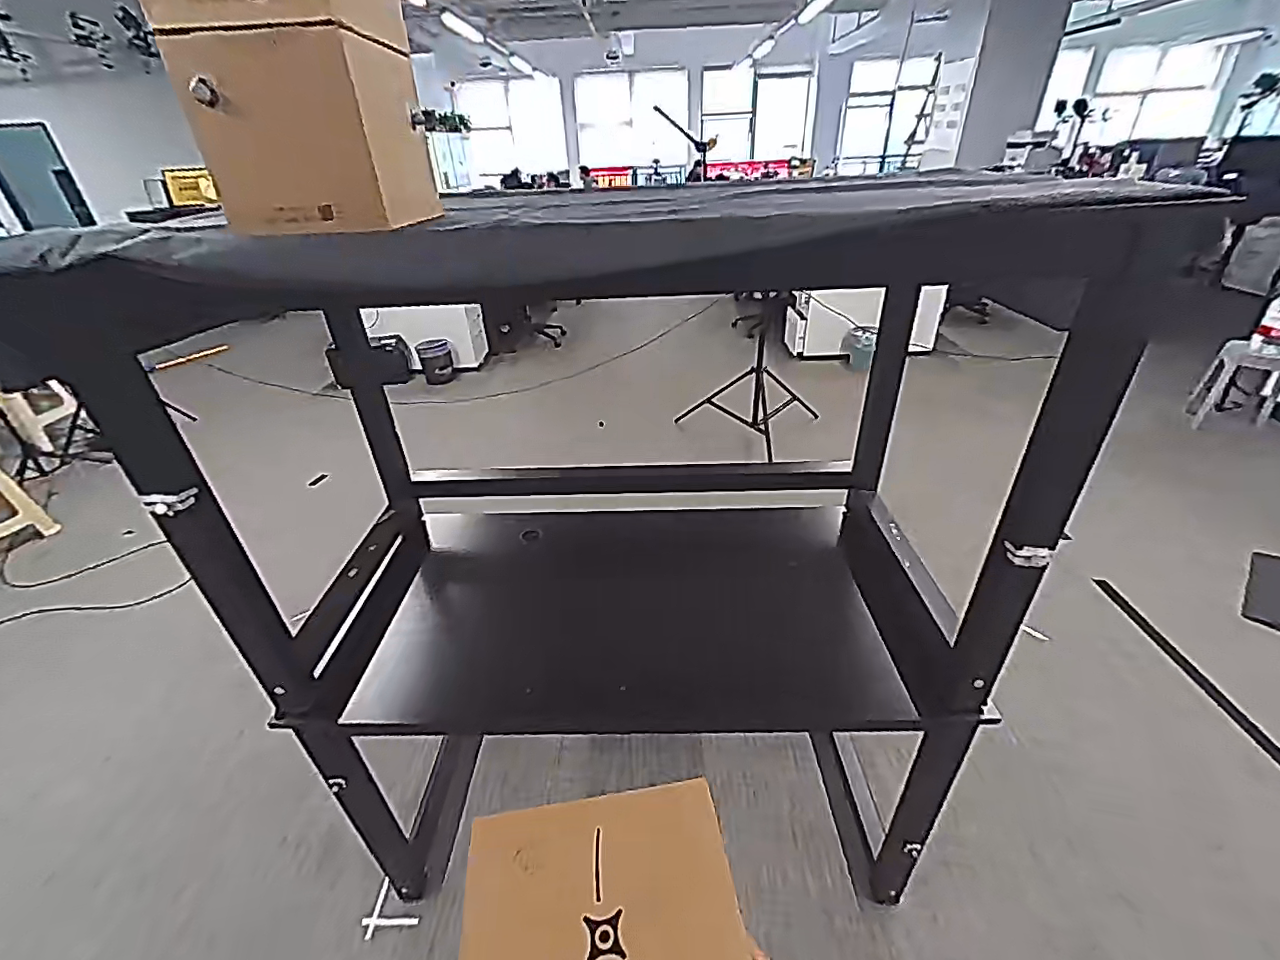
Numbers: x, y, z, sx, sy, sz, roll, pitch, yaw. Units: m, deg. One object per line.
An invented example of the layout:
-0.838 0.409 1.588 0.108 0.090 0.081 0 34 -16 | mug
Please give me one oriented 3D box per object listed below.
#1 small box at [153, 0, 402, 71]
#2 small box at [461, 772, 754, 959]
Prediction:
-0.346 -0.503 0.503 0.168 0.176 0.179 -2 30 2 | small box
-0.015 0.330 0.350 0.168 0.176 0.179 -7 34 -6 | small box
